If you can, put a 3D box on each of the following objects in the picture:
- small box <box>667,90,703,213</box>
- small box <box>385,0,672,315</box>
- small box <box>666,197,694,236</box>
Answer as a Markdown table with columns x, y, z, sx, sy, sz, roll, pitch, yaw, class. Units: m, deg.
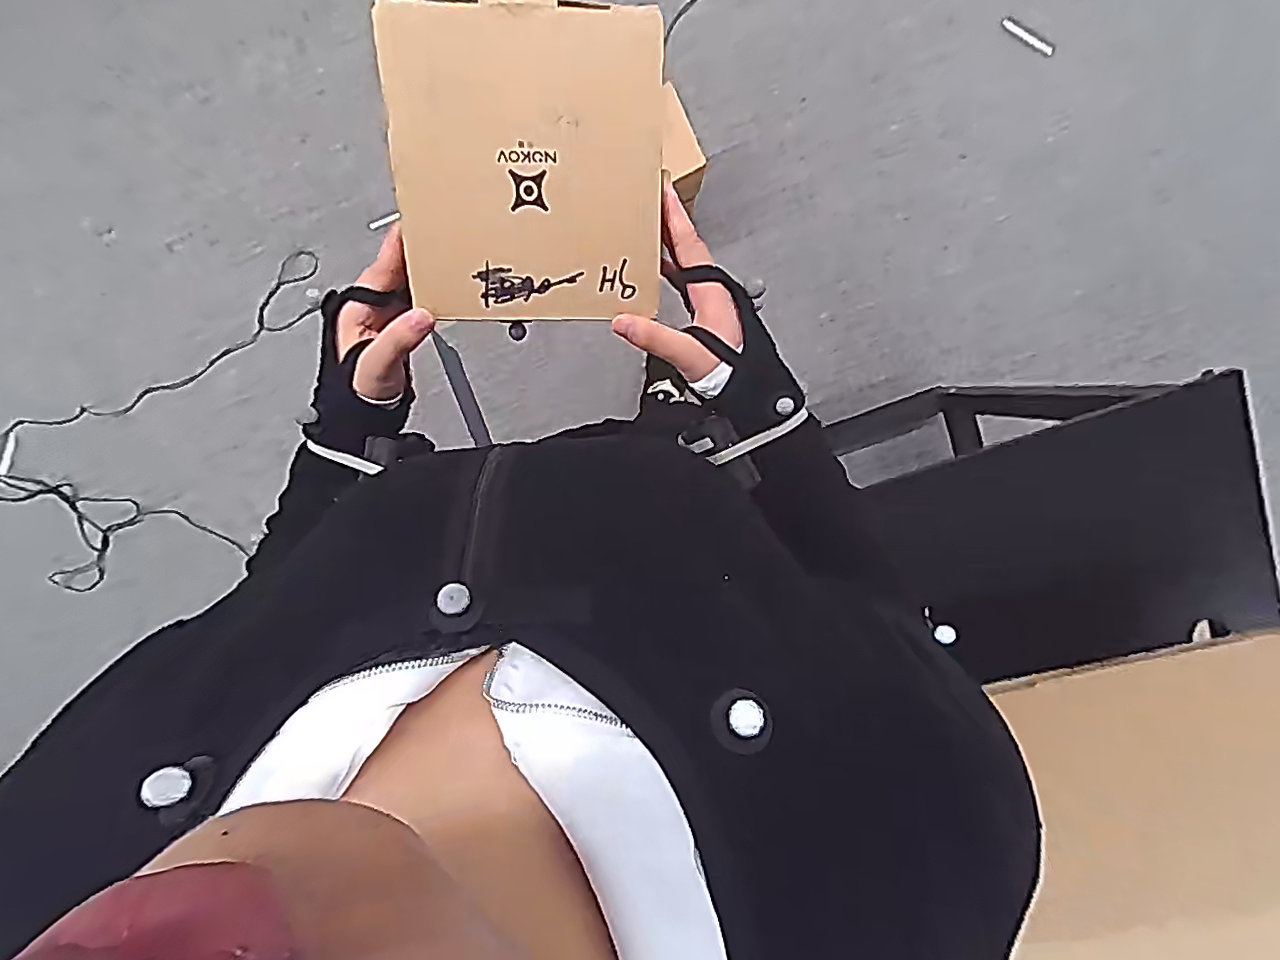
| x | y | z | sx | sy | sz | roll | pitch | yaw | class |
| --- | --- | --- | --- | --- | --- | --- | --- | --- | --- |
| 0.015 | -0.658 | 1.134 | 0.179 | 0.176 | 0.168 | -26 | 98 | 4 | small box |
| -0.069 | -0.220 | 0.410 | 0.168 | 0.176 | 0.179 | -1 | 110 | -3 | small box |
| 0.014 | -0.679 | 1.295 | 0.179 | 0.176 | 0.168 | -23 | 97 | 5 | small box |
